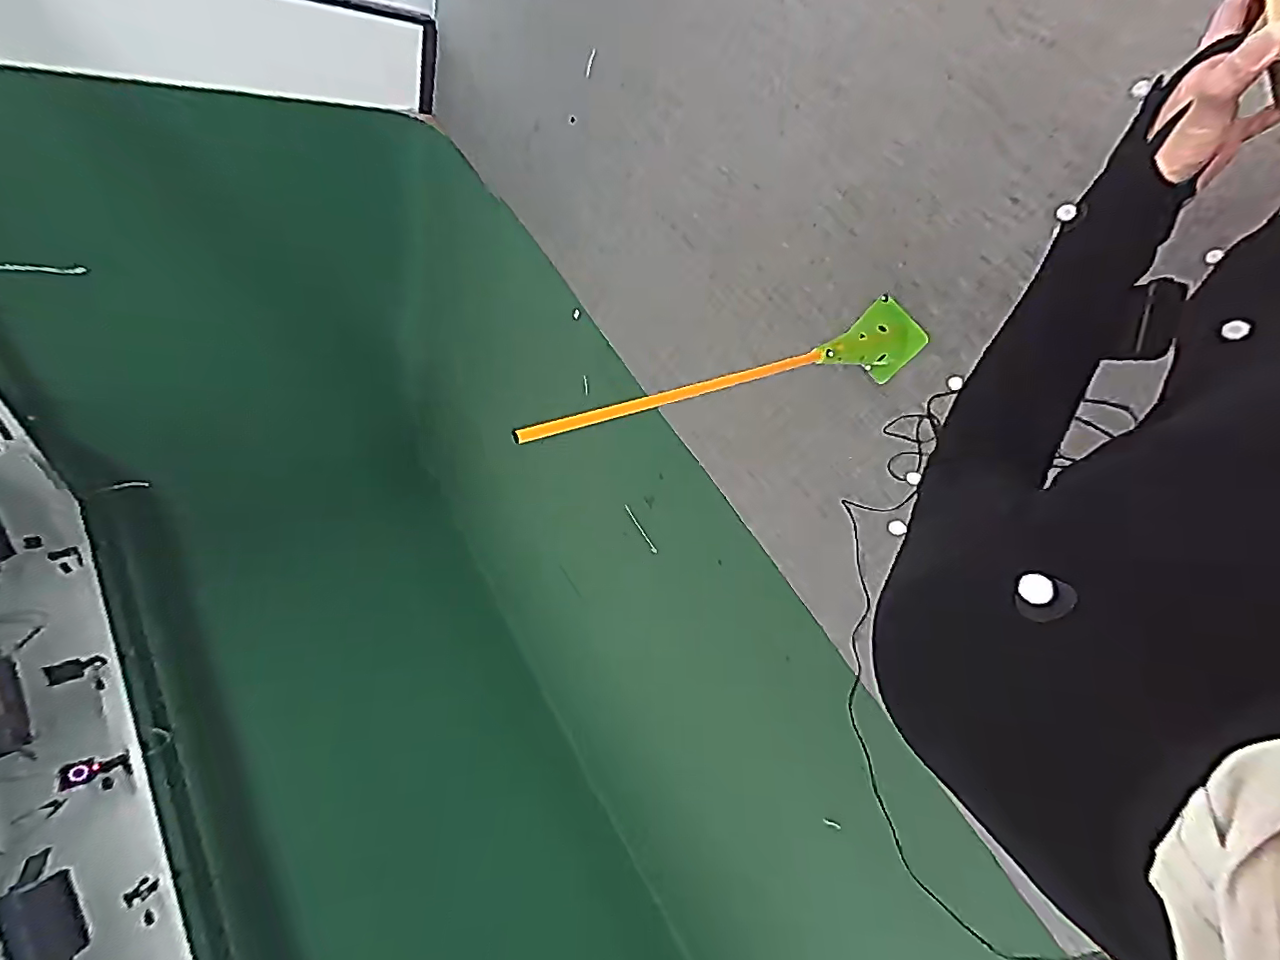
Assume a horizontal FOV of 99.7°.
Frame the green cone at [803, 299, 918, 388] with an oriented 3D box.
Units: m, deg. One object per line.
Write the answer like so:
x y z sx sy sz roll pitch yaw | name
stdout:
0.569 -0.356 1.514 0.202 0.368 0.200 55 142 17 | green cone
